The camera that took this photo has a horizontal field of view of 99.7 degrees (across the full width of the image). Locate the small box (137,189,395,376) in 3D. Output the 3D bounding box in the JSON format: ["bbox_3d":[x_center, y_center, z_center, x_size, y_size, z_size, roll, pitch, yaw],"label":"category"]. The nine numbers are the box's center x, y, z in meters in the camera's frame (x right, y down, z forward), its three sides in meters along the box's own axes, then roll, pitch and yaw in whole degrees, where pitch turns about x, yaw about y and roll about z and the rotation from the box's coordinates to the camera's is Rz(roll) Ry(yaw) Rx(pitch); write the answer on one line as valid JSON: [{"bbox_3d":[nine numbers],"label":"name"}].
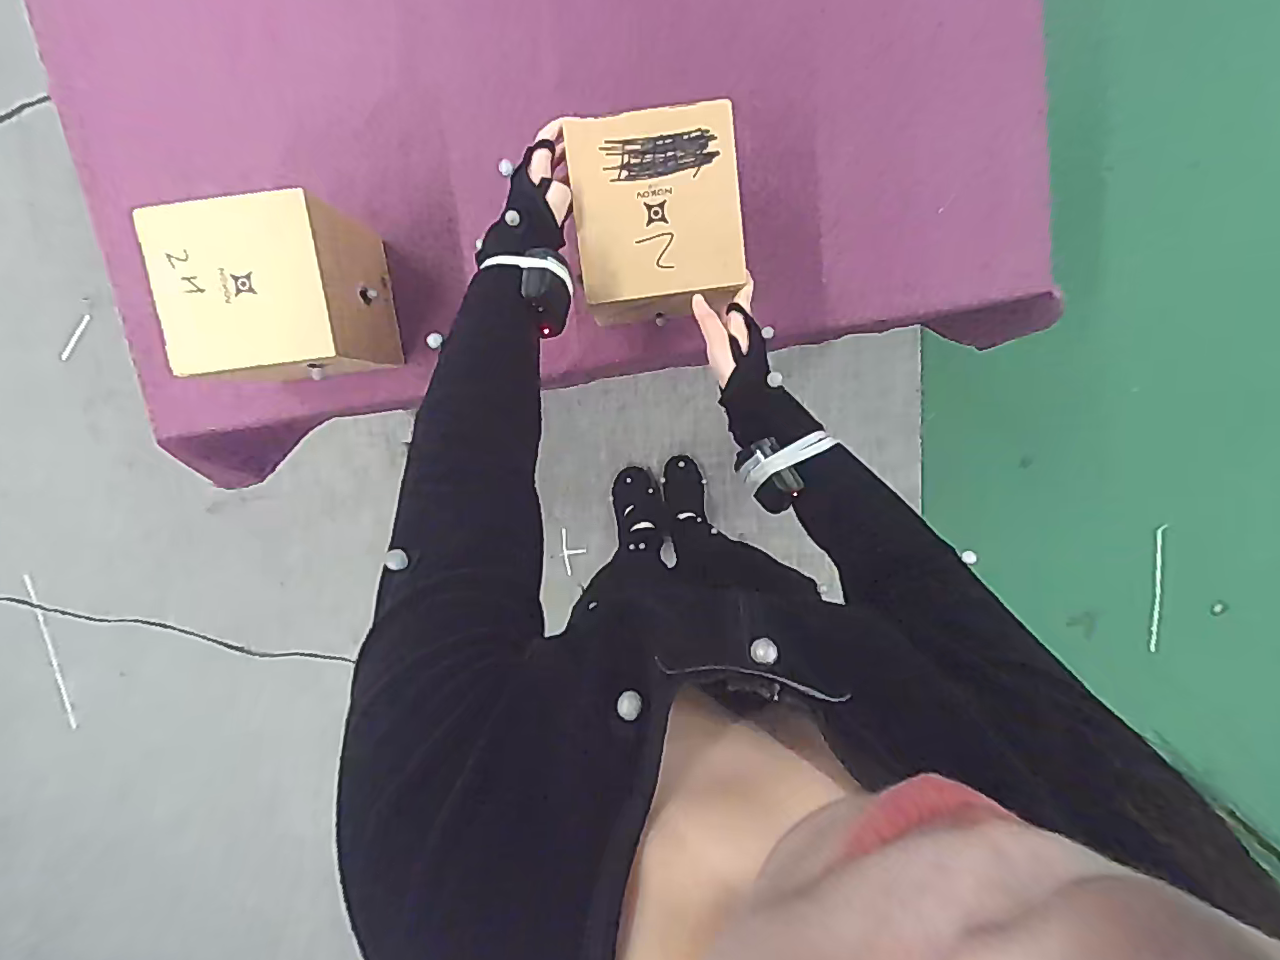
[{"bbox_3d":[-0.408,-0.214,0.629,0.179,0.176,0.168,-6,98,2],"label":"small box"}]
